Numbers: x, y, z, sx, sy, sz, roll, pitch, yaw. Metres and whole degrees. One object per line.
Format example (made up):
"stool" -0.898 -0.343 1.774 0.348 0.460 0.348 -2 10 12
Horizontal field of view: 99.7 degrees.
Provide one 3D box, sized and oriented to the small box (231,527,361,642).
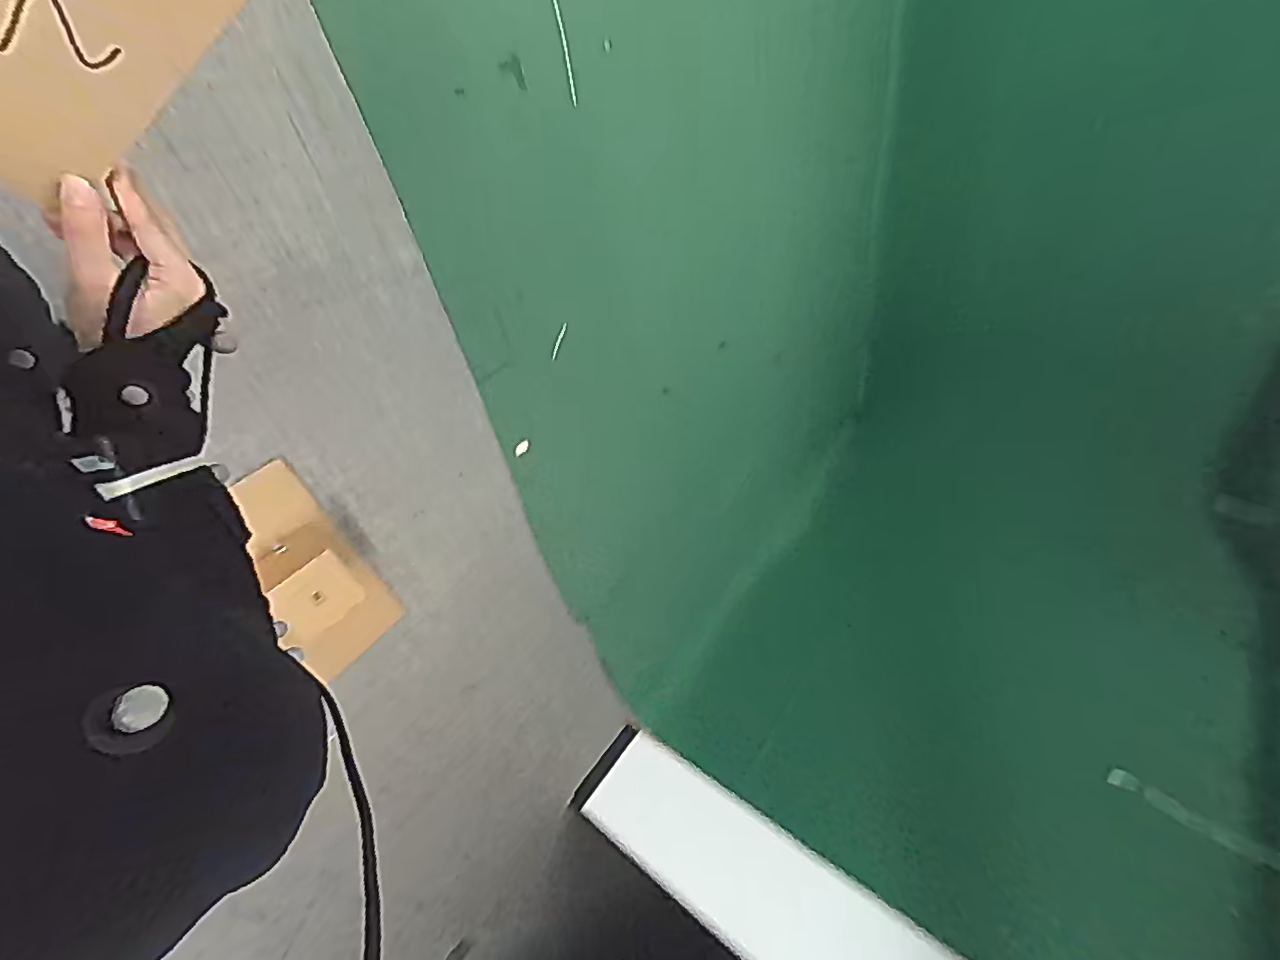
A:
"small box" -0.809 0.239 1.274 0.168 0.176 0.179 -45 137 -32
